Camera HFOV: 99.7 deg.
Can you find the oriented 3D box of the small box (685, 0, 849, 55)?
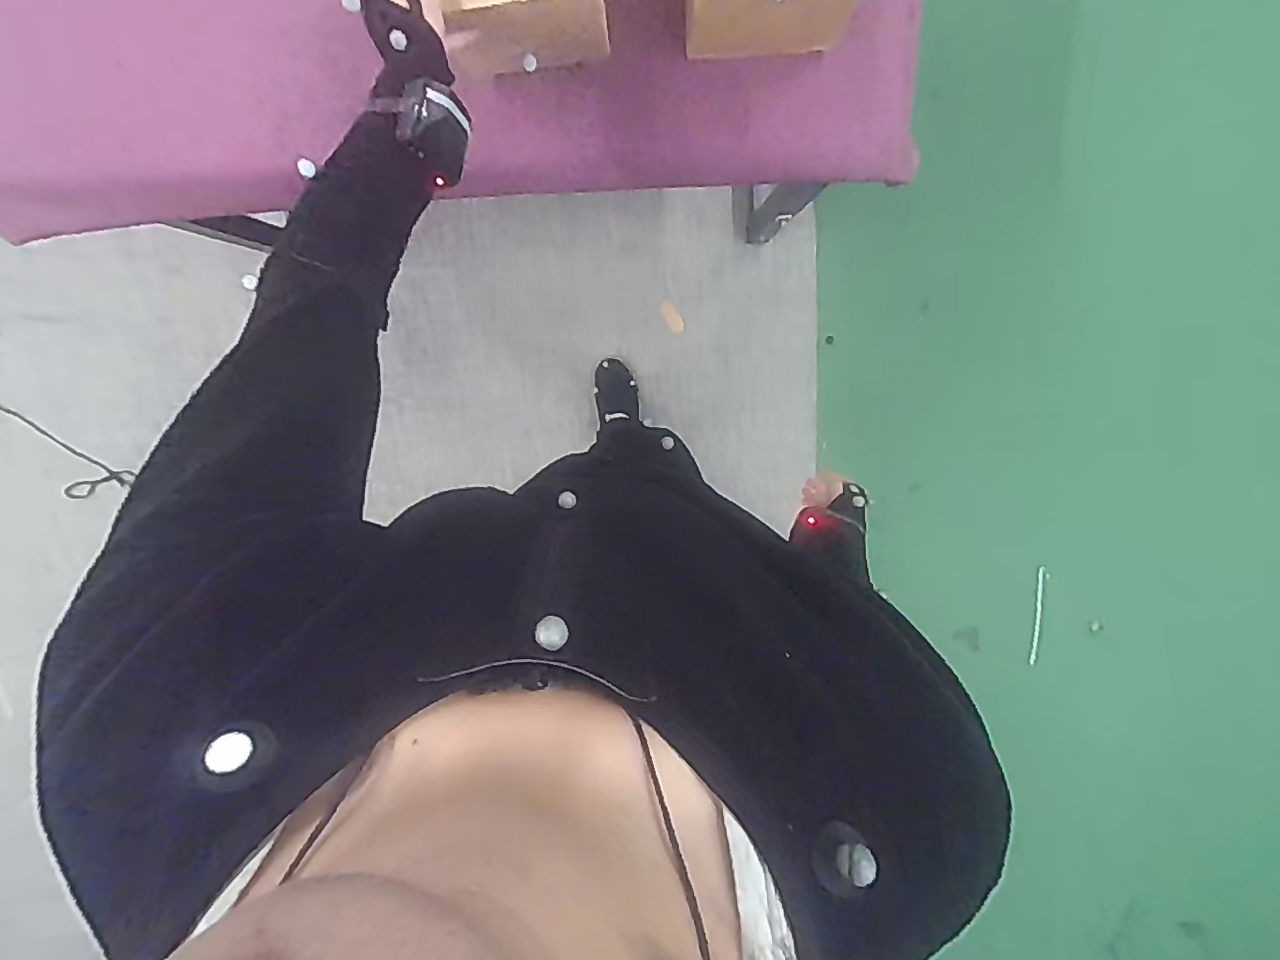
[{"bbox_3d":[0.137,-0.576,0.558,0.179,0.176,0.168,-2,102,0],"label":"small box"}]

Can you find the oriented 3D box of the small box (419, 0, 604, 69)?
[{"bbox_3d":[-0.128,-0.539,0.526,0.168,0.176,0.179,-5,112,2],"label":"small box"}]
